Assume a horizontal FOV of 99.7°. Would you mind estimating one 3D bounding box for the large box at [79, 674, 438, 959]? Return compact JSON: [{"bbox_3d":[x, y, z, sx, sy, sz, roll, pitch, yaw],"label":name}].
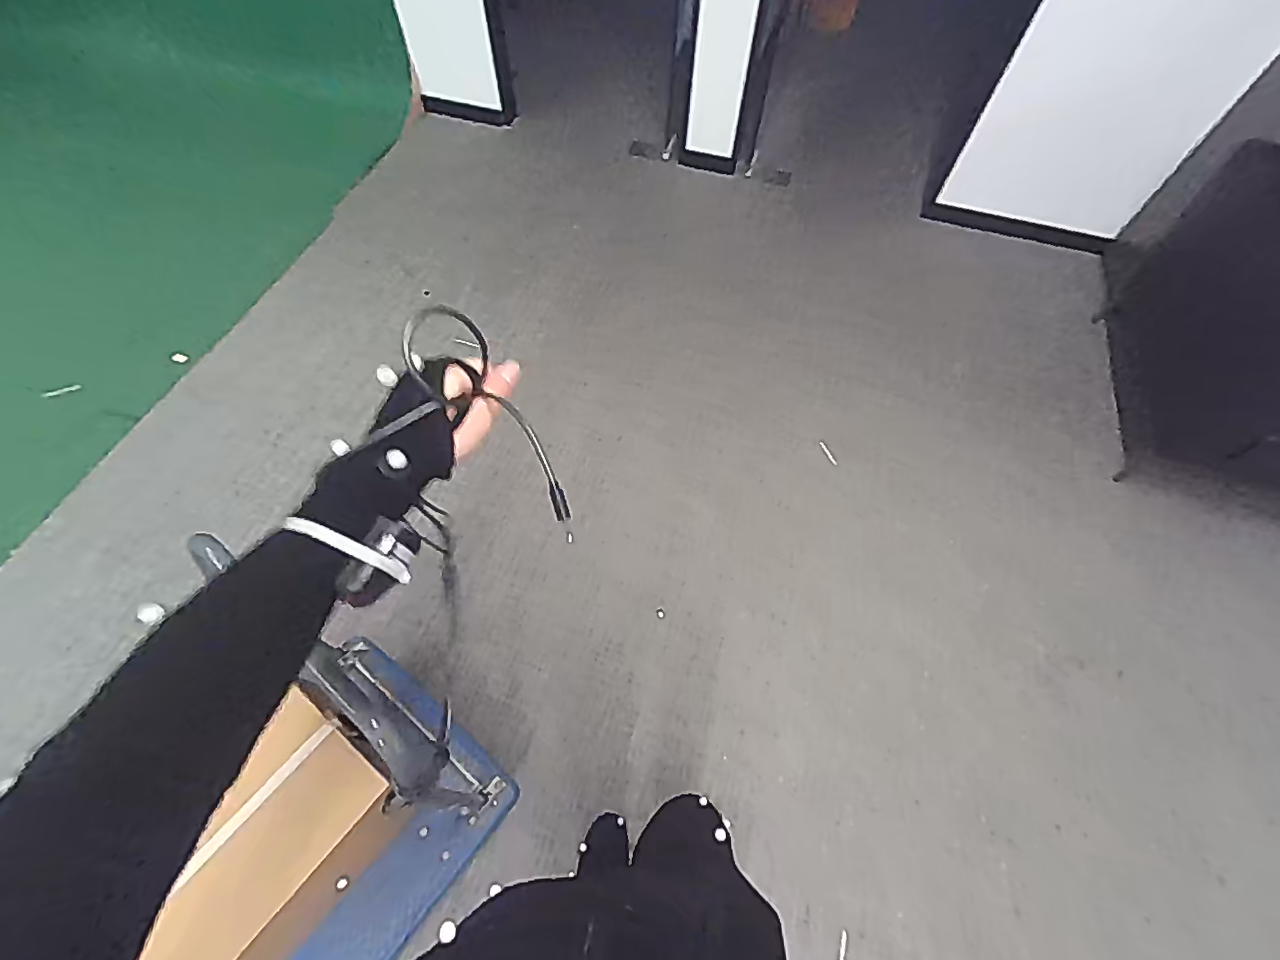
[{"bbox_3d":[-0.679,0.655,1.046,0.320,0.320,0.408,34,66,16],"label":"large box"}]
